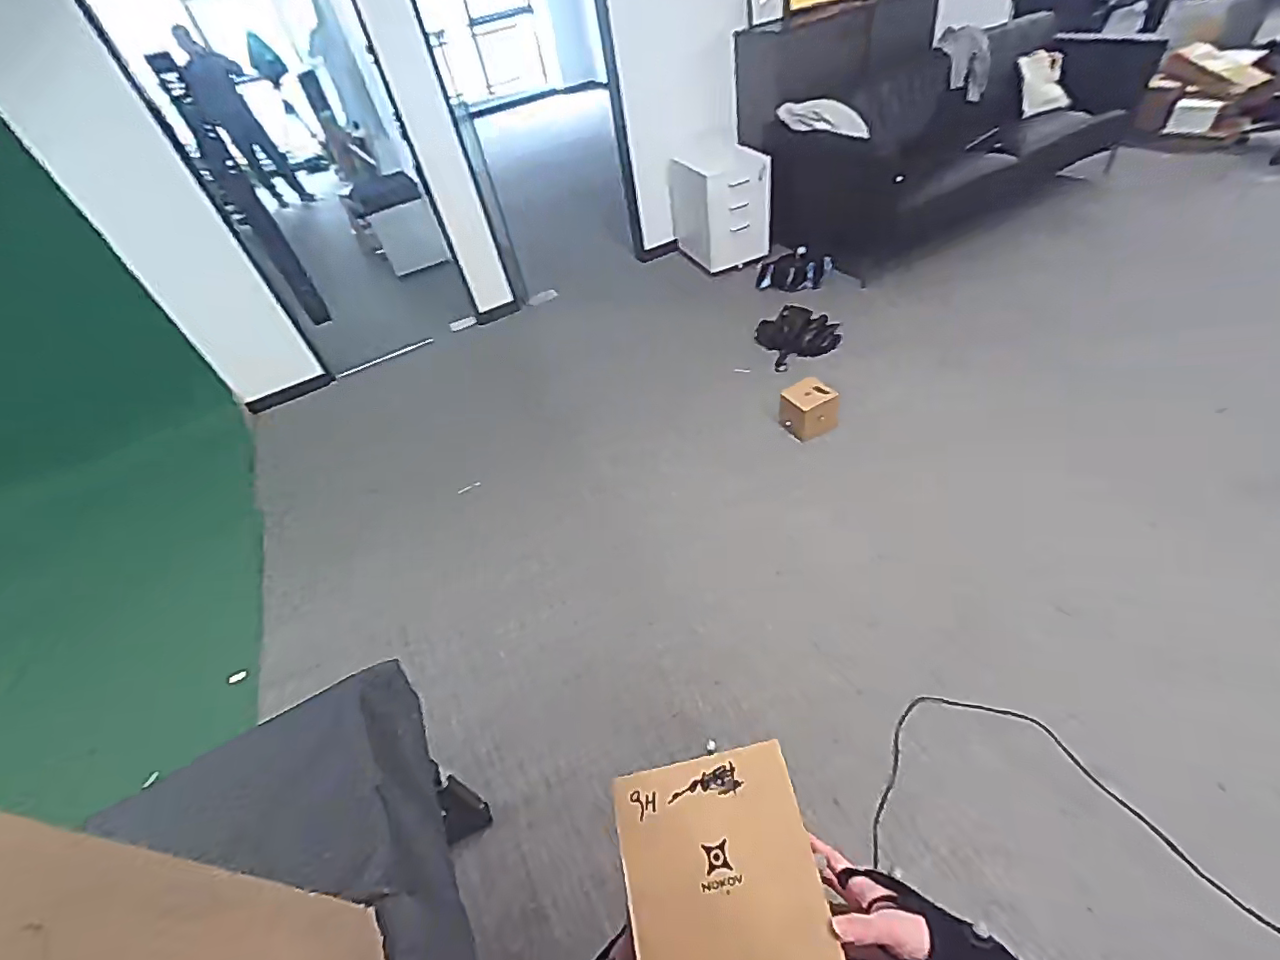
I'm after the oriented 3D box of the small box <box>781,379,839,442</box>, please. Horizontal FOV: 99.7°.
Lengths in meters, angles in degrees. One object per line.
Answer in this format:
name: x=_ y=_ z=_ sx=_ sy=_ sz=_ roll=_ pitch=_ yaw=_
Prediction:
small box: x=0.709 y=-0.292 z=2.276 sx=0.179 sy=0.176 sz=0.168 roll=-27 pitch=45 yaw=-12
